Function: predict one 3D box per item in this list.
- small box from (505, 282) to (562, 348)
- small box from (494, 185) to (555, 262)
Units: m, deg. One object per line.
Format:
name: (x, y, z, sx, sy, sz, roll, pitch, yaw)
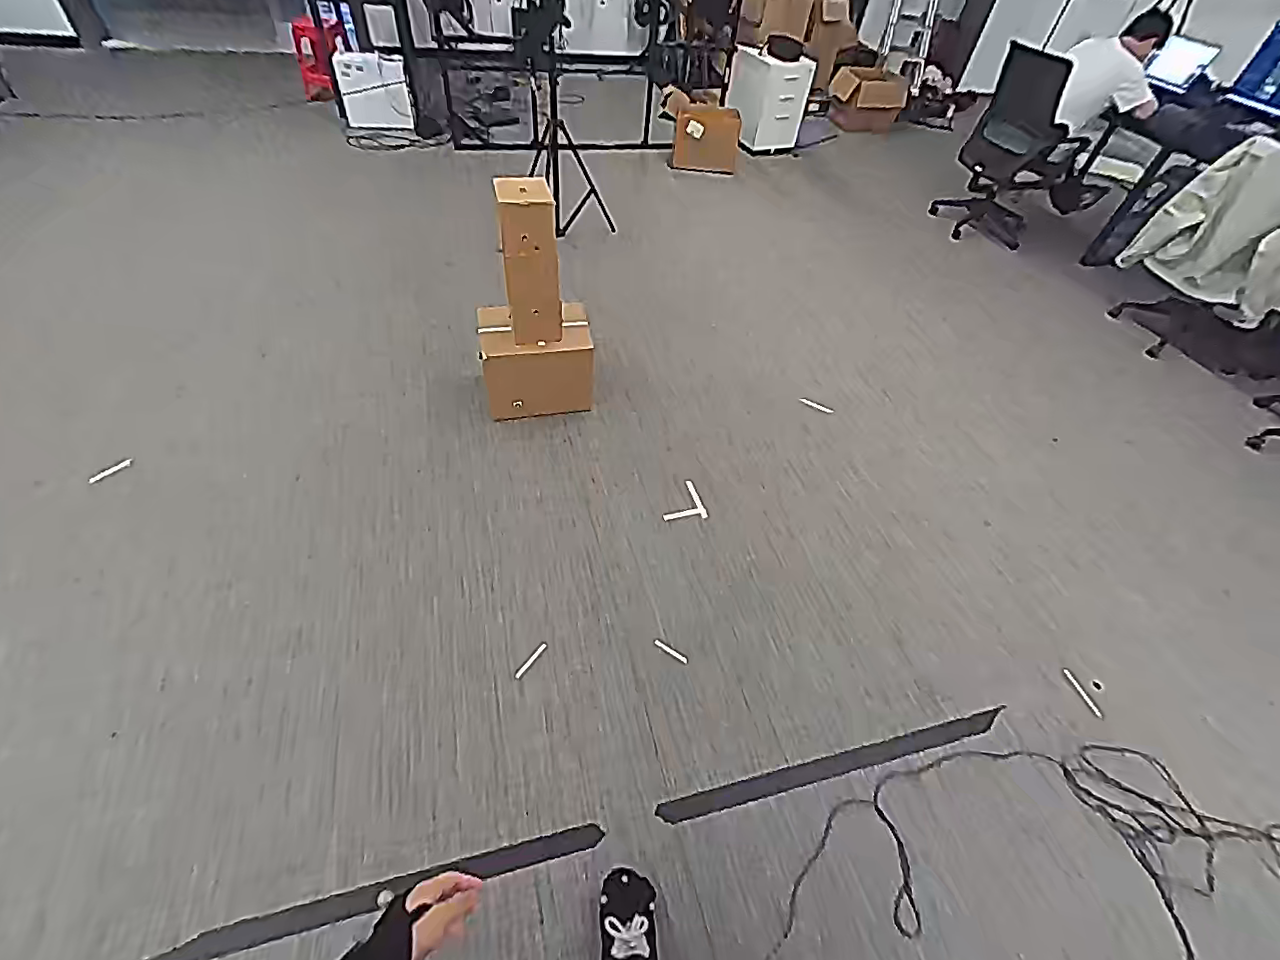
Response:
small box: (-0.381, -0.593, 1.954, 0.179, 0.176, 0.168, -9, 52, -15)
small box: (-0.364, -0.811, 1.711, 0.168, 0.176, 0.179, -9, 52, -14)
